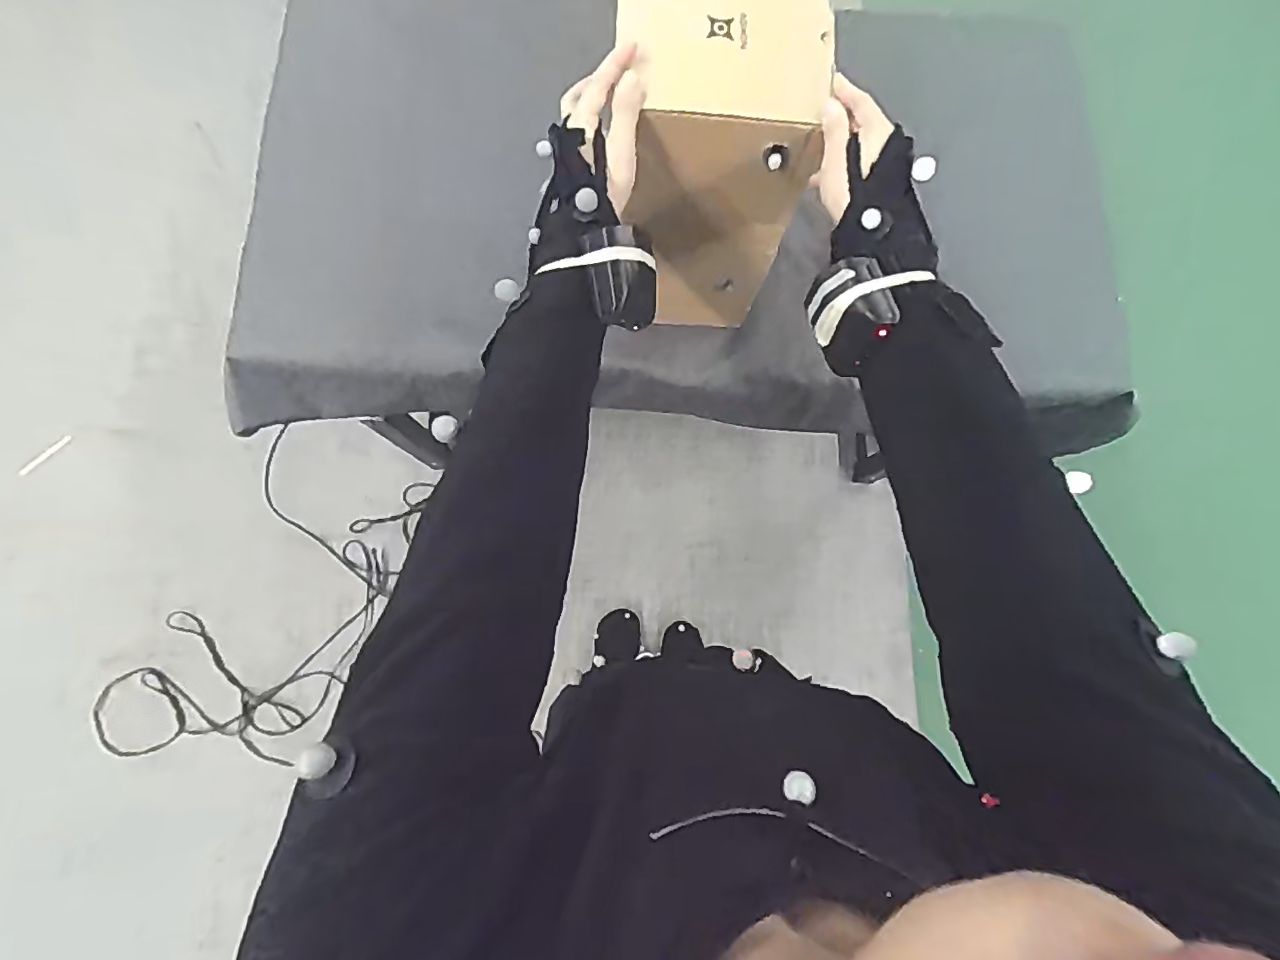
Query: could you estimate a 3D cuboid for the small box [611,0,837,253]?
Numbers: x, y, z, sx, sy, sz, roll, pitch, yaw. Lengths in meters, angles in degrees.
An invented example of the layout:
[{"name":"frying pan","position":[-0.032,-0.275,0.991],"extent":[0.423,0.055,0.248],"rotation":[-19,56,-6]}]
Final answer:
[{"name":"small box","position":[0.064,-0.336,0.505],"extent":[0.179,0.176,0.168],"rotation":[3,78,-3]}]
